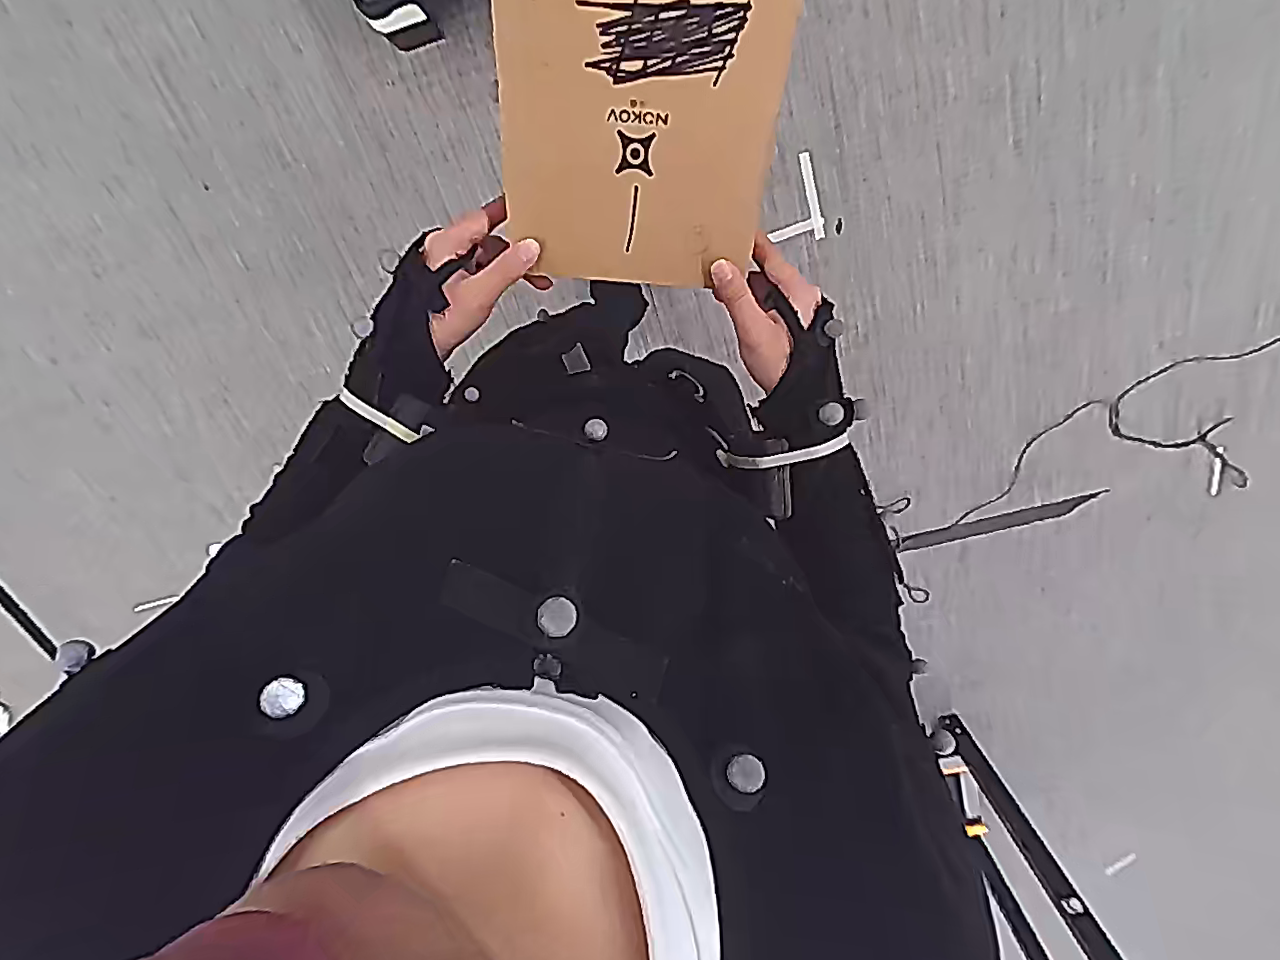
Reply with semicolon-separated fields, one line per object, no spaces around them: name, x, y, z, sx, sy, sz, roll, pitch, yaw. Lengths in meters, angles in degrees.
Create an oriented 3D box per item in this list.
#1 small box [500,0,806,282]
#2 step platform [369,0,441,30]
small box;0.001;-0.260;0.381;0.168;0.176;0.179;4;129;-3
step platform;-0.193;-1.027;0.870;0.684;0.204;0.286;-15;112;7
